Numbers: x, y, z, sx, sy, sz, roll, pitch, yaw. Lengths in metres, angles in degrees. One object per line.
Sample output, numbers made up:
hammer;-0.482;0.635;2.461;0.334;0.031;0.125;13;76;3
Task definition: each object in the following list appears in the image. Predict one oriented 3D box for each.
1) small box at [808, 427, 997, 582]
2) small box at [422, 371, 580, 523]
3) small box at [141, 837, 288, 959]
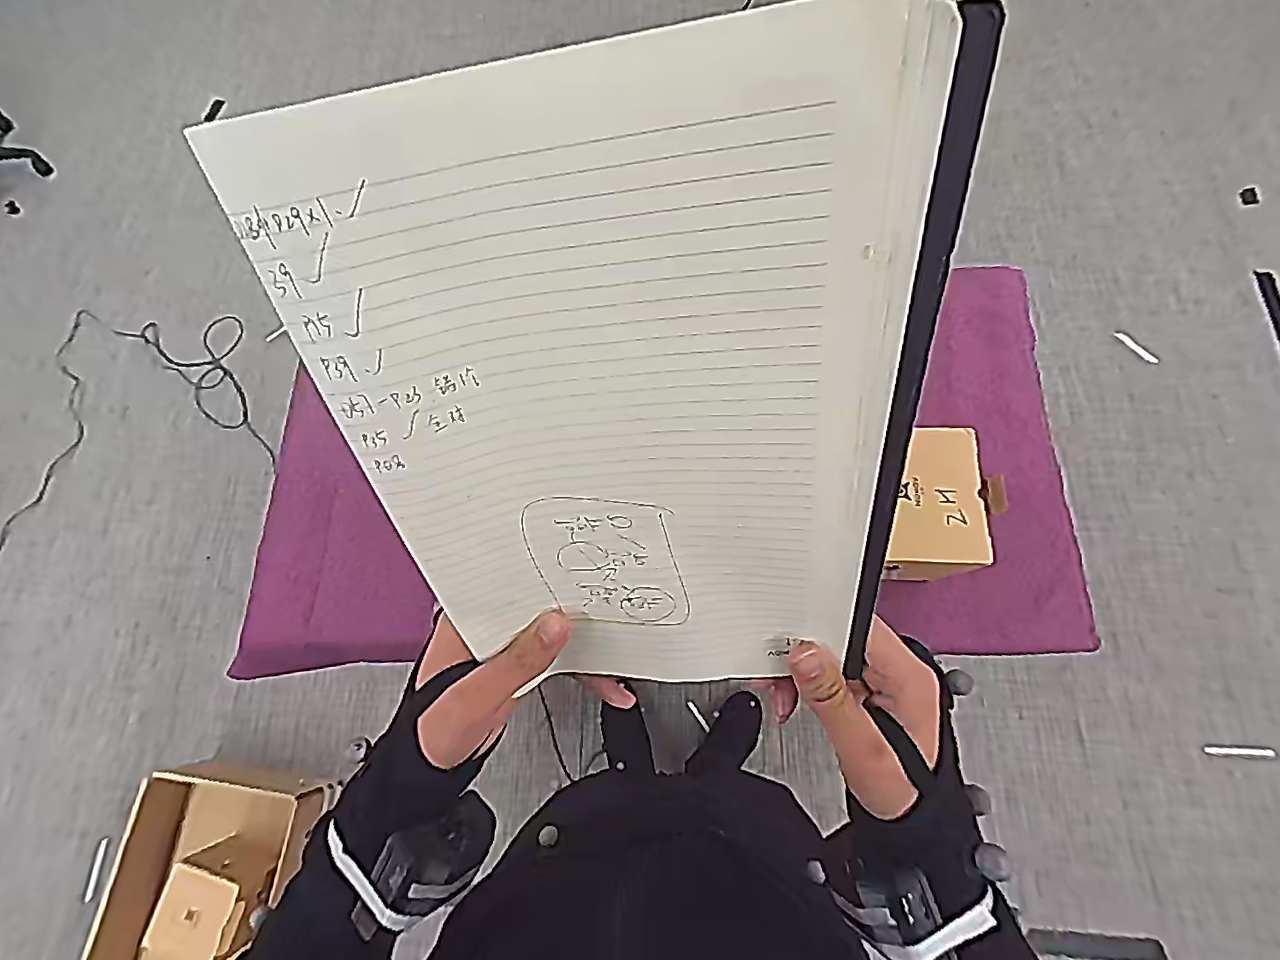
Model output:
small box;0.320;0.039;0.704;0.179;0.176;0.168;2;74;5
small box;-0.183;-0.038;0.770;0.168;0.176;0.179;1;73;5
small box;-0.965;0.960;1.247;0.179;0.176;0.168;14;75;8
